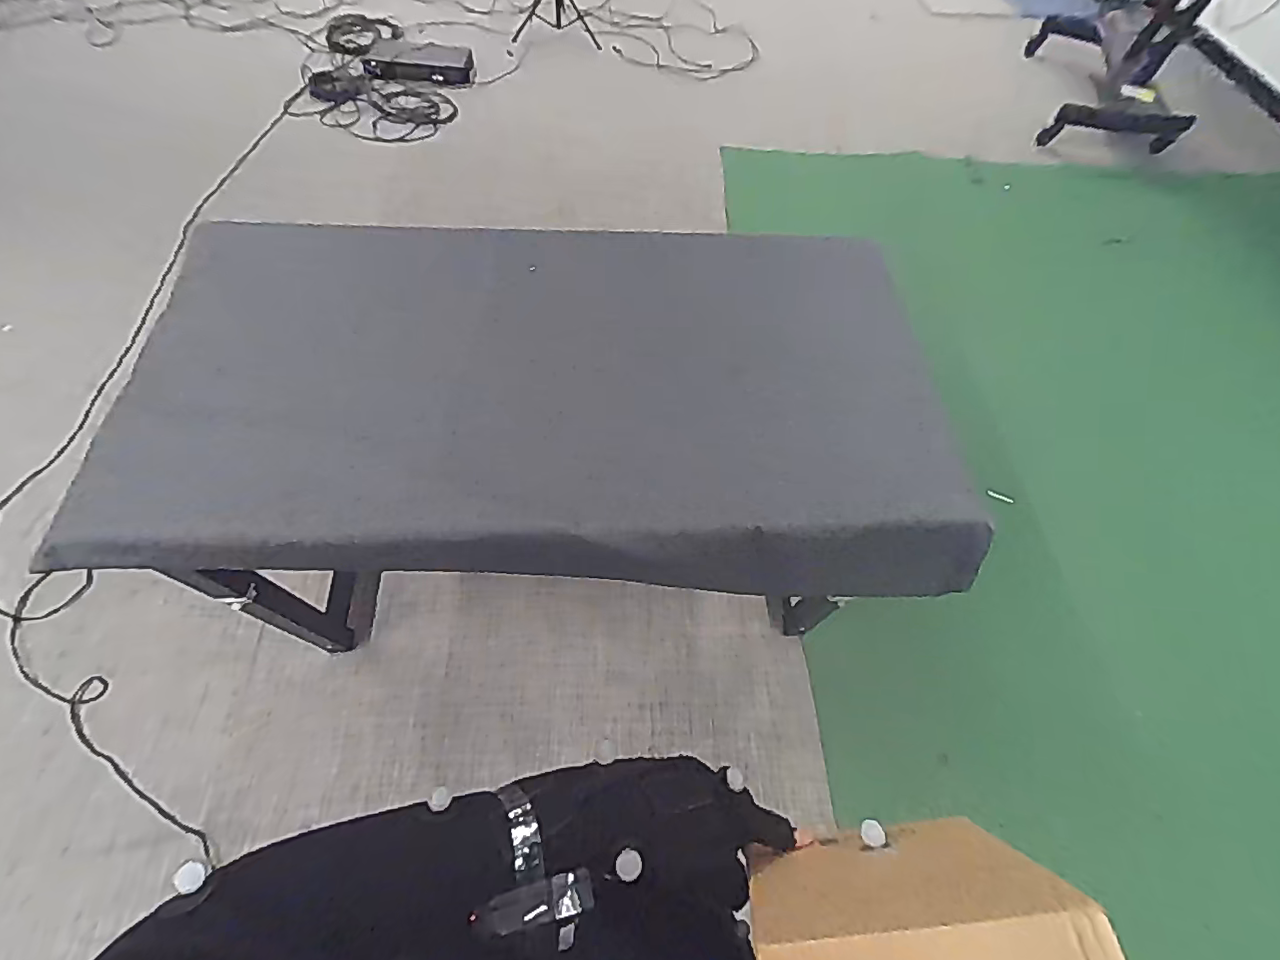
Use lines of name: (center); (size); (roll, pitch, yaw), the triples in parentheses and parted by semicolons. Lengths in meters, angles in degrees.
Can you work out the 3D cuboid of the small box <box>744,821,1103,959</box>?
small box: (0.157, 0.326, 0.315); (0.168, 0.176, 0.179); (-9, 69, 6)
